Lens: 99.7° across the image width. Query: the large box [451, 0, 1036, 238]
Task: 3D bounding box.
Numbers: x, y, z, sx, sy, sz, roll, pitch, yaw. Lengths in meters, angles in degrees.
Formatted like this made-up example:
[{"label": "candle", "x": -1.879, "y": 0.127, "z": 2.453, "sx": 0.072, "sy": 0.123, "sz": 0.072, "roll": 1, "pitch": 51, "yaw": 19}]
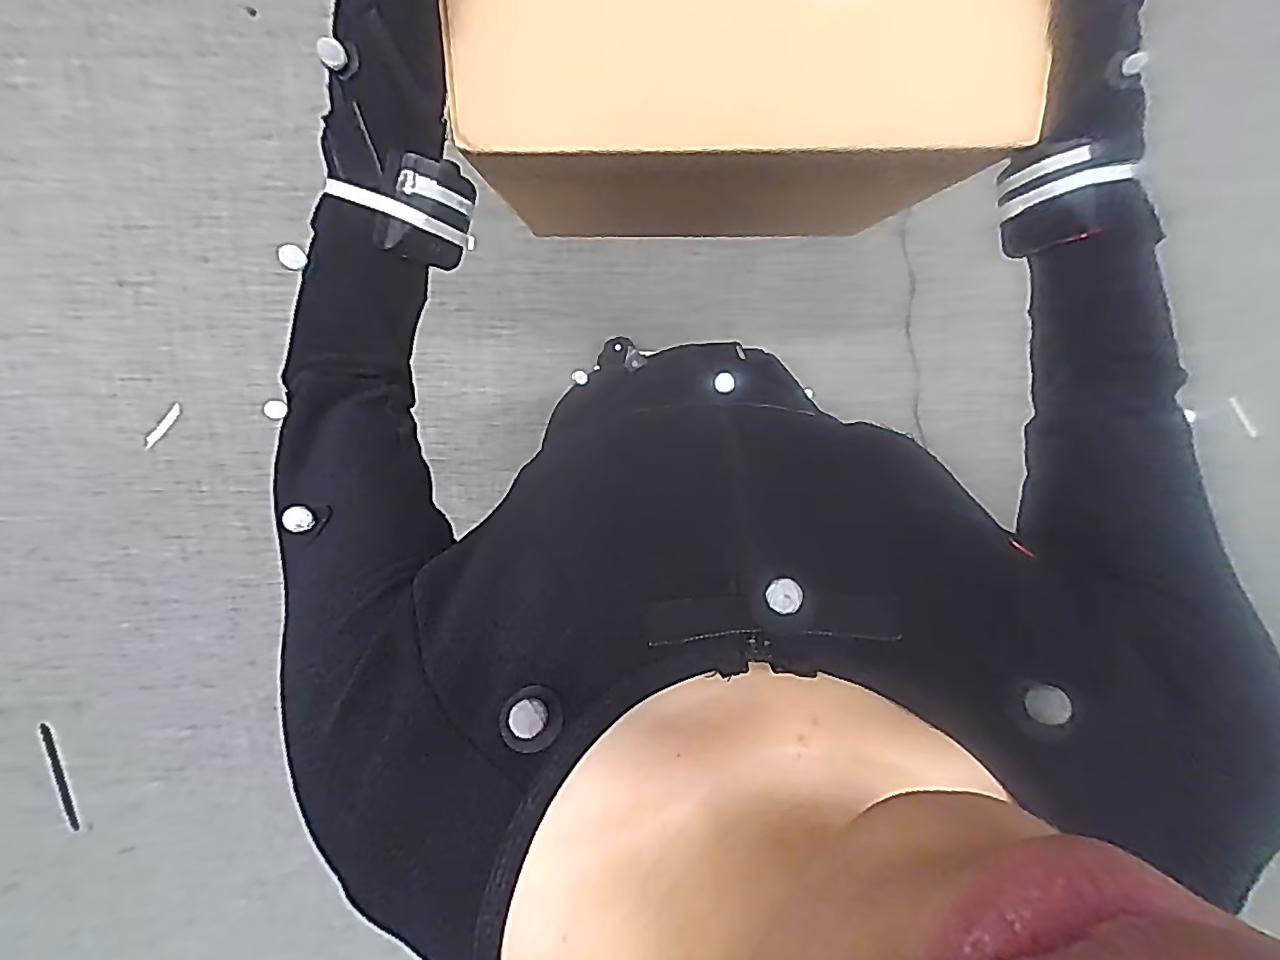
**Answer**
[{"label": "large box", "x": 0.065, "y": -0.421, "z": 0.493, "sx": 0.408, "sy": 0.320, "sz": 0.320, "roll": -1, "pitch": 104, "yaw": -1}]
